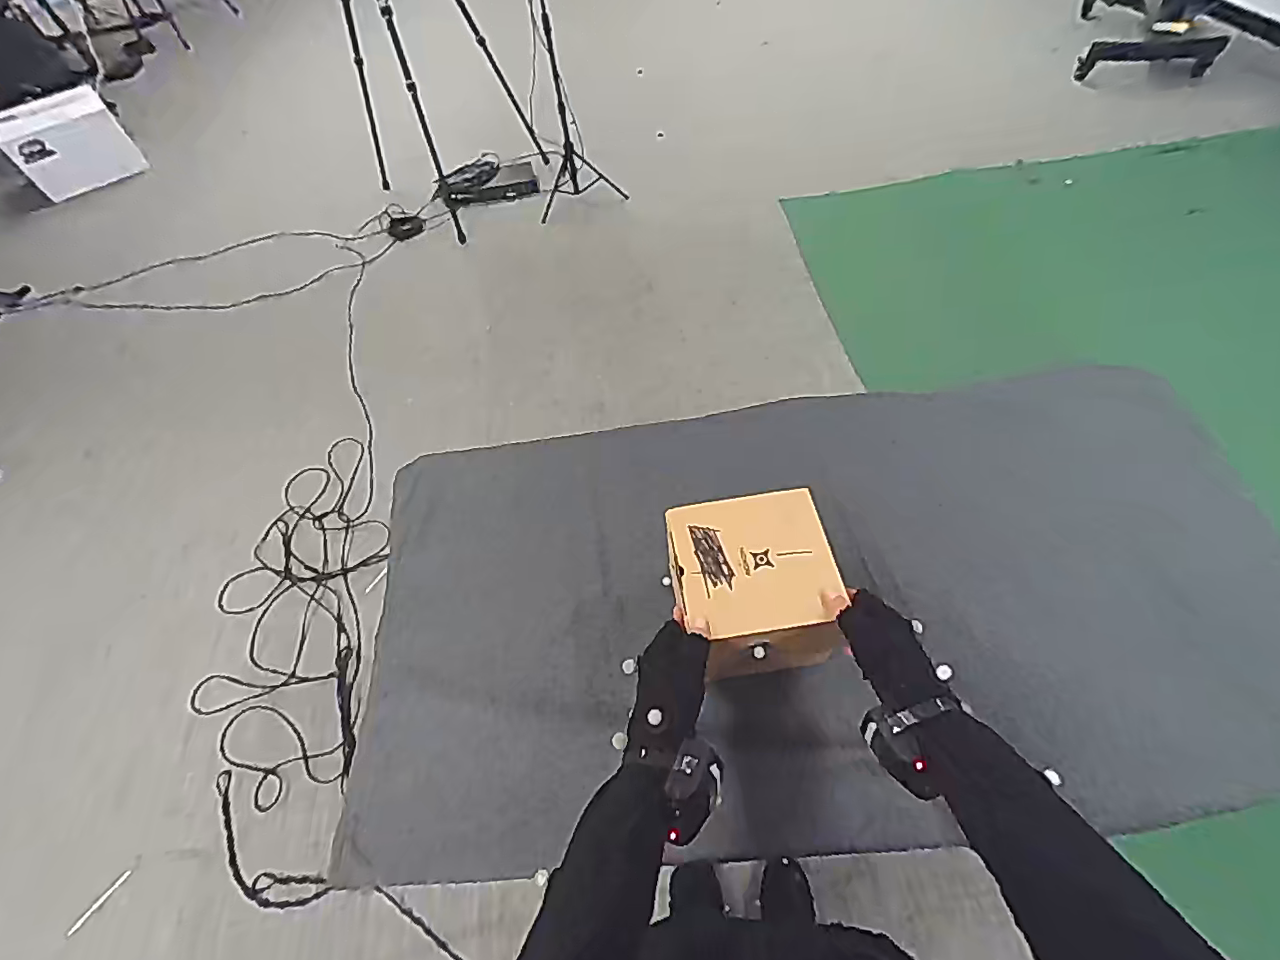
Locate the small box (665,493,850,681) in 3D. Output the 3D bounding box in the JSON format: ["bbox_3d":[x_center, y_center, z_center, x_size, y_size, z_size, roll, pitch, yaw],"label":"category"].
[{"bbox_3d":[0.132,0.138,0.670,0.179,0.176,0.168,-8,56,0],"label":"small box"}]
